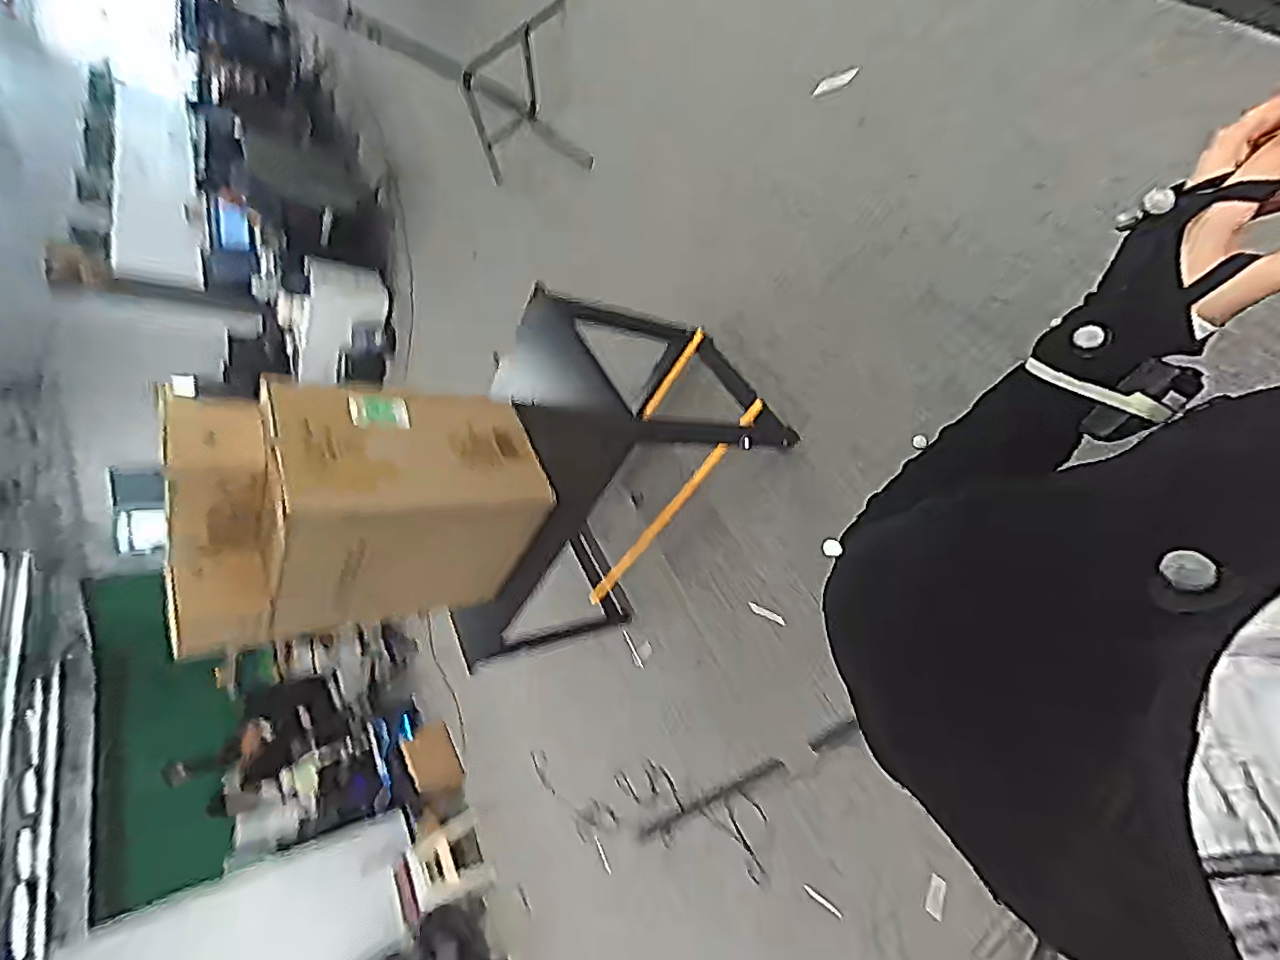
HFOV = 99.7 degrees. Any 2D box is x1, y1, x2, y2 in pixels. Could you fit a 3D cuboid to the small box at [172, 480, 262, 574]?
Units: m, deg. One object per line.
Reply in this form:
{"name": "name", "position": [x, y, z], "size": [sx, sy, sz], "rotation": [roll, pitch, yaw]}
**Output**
{"name": "small box", "position": [-1.063, 0.116, 1.360], "size": [0.179, 0.176, 0.168], "rotation": [-51, 54, 35]}
